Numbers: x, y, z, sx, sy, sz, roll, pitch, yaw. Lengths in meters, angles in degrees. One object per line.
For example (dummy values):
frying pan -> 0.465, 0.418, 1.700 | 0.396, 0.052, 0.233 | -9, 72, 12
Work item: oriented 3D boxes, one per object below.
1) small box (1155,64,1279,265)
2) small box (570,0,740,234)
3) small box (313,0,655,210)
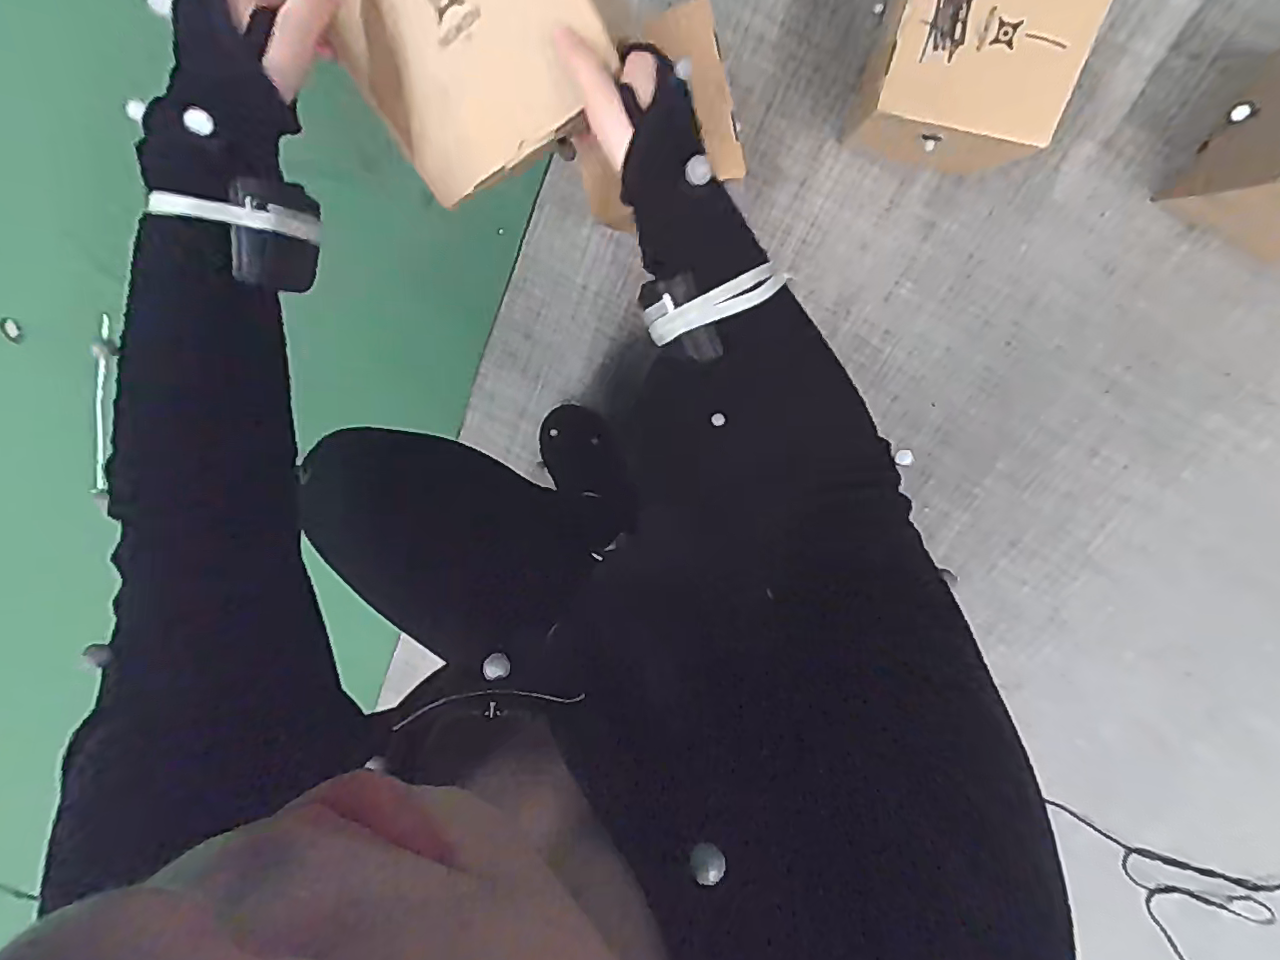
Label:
small box -> 0.725, -0.336, 0.564 | 0.179, 0.176, 0.168 | 27, 112, -2
small box -> 0.018, -0.410, 0.650 | 0.179, 0.176, 0.168 | -13, 108, 13
small box -> -0.101, -0.341, 0.403 | 0.168, 0.176, 0.179 | -19, 122, 23
